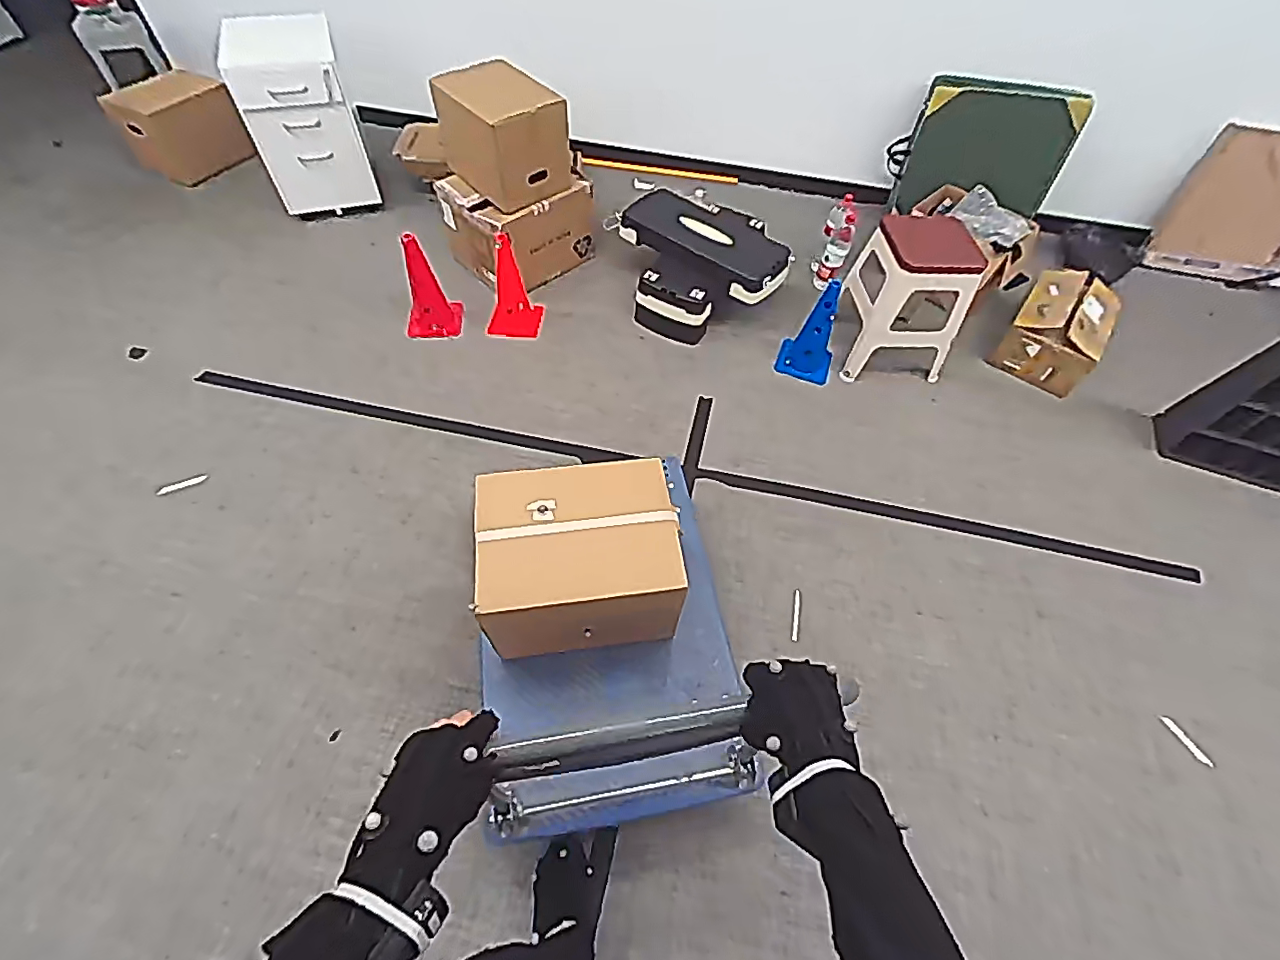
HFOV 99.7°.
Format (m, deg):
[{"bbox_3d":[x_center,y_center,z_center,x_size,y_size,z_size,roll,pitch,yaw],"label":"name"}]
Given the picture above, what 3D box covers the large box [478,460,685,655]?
[{"bbox_3d":[-0.133,0.184,1.236,0.408,0.320,0.320,-6,57,-6],"label":"large box"}]
